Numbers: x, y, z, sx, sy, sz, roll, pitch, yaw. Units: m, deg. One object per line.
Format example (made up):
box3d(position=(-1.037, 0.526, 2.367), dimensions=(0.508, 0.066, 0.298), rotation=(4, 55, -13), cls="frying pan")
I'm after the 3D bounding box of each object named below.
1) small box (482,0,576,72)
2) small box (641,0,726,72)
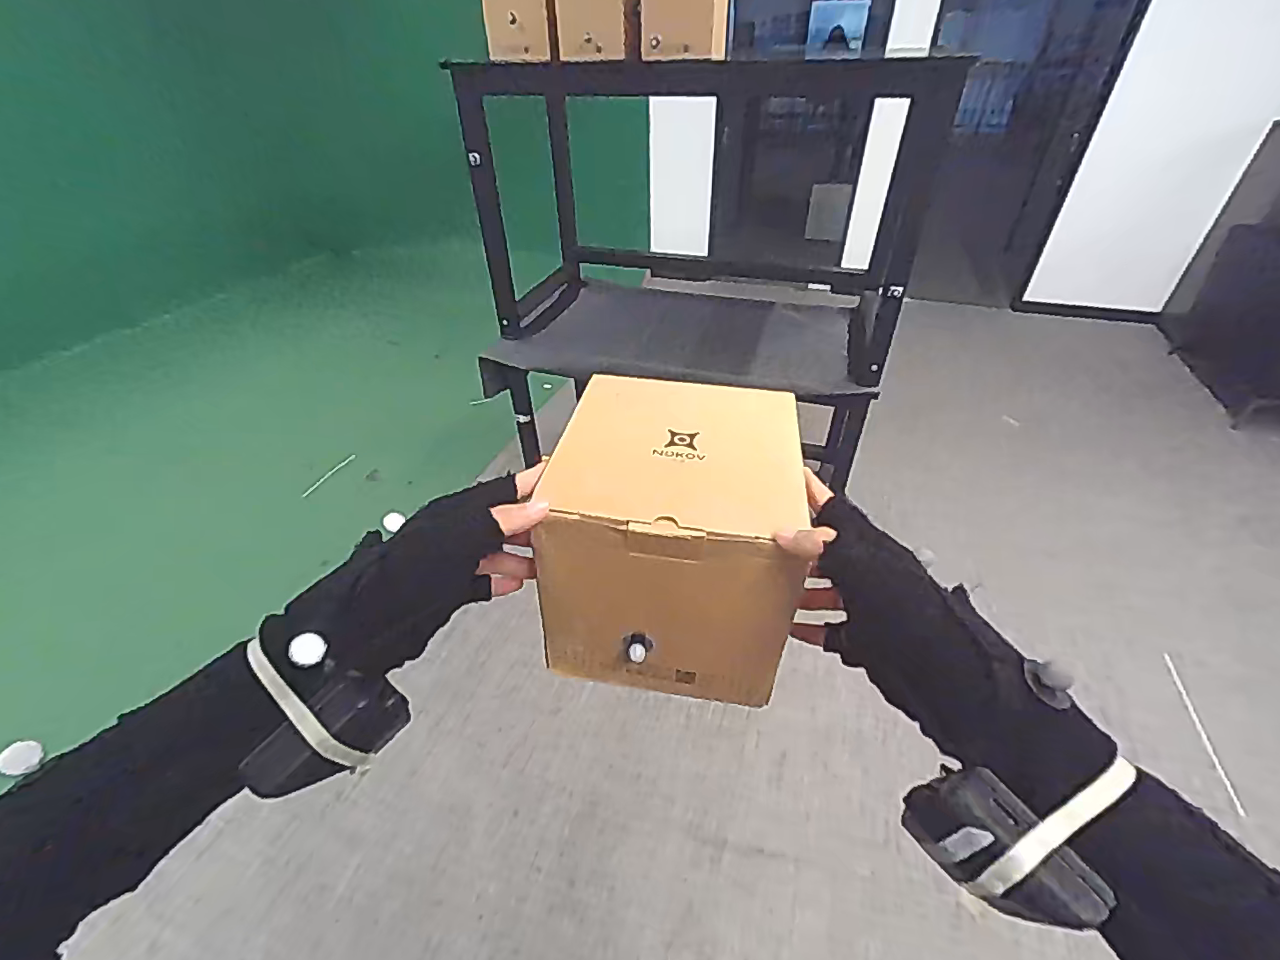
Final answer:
box3d(position=(-0.268, -1.127, 1.350), dimensions=(0.168, 0.176, 0.179), rotation=(12, 40, 14), cls="small box")
box3d(position=(0.104, -1.043, 1.235), dimensions=(0.168, 0.176, 0.179), rotation=(9, 39, 13), cls="small box")
